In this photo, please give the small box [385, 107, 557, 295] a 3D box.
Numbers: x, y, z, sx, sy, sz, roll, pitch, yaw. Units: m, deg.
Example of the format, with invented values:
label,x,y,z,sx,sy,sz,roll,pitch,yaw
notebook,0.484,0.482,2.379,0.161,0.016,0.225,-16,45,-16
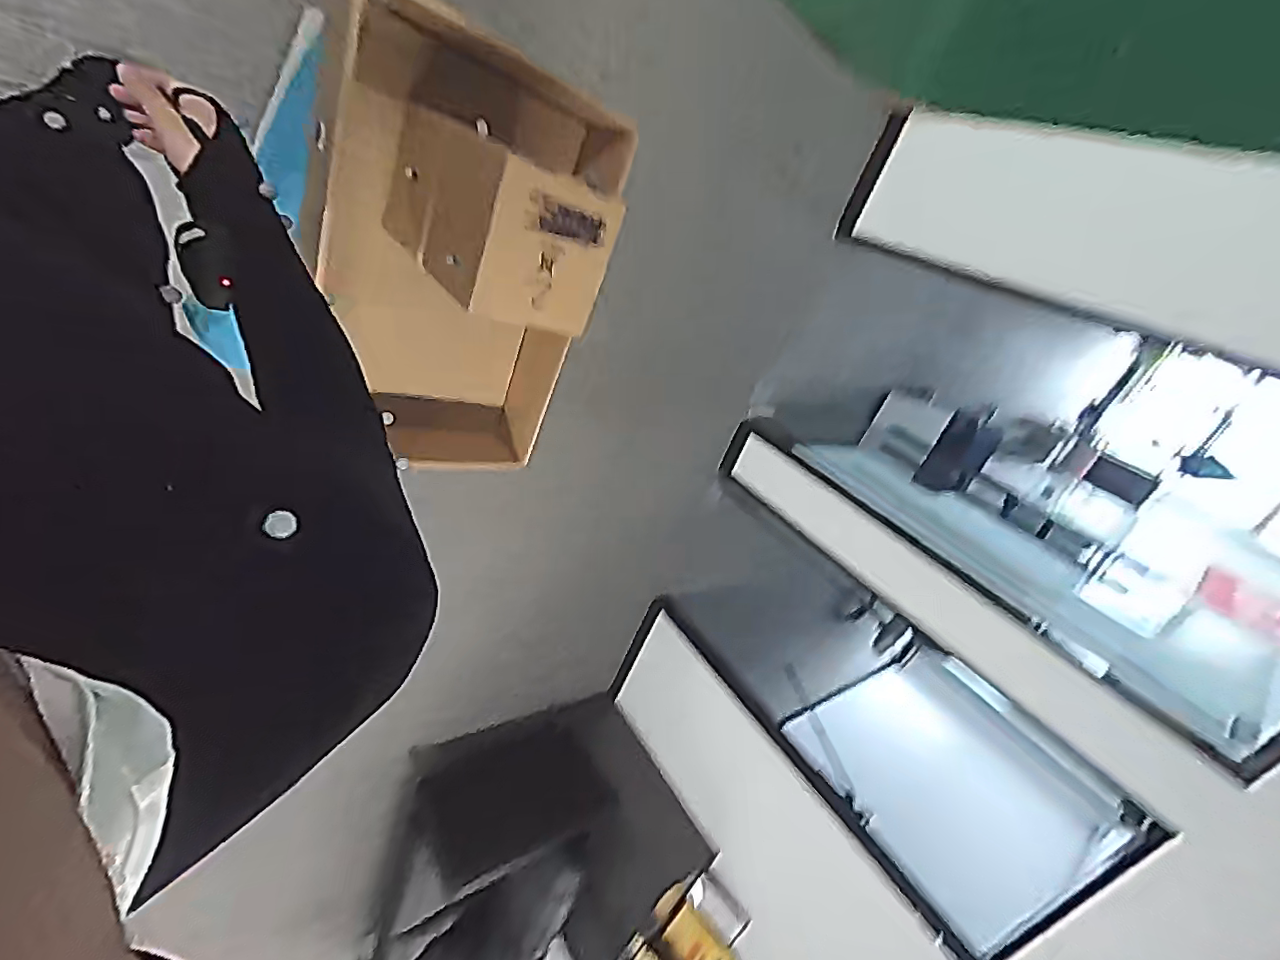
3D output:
label,x,y,z,sx,sy,sz,roll,pitch,yaw
small box,-0.254,-0.401,0.787,0.168,0.176,0.179,1,125,-45
